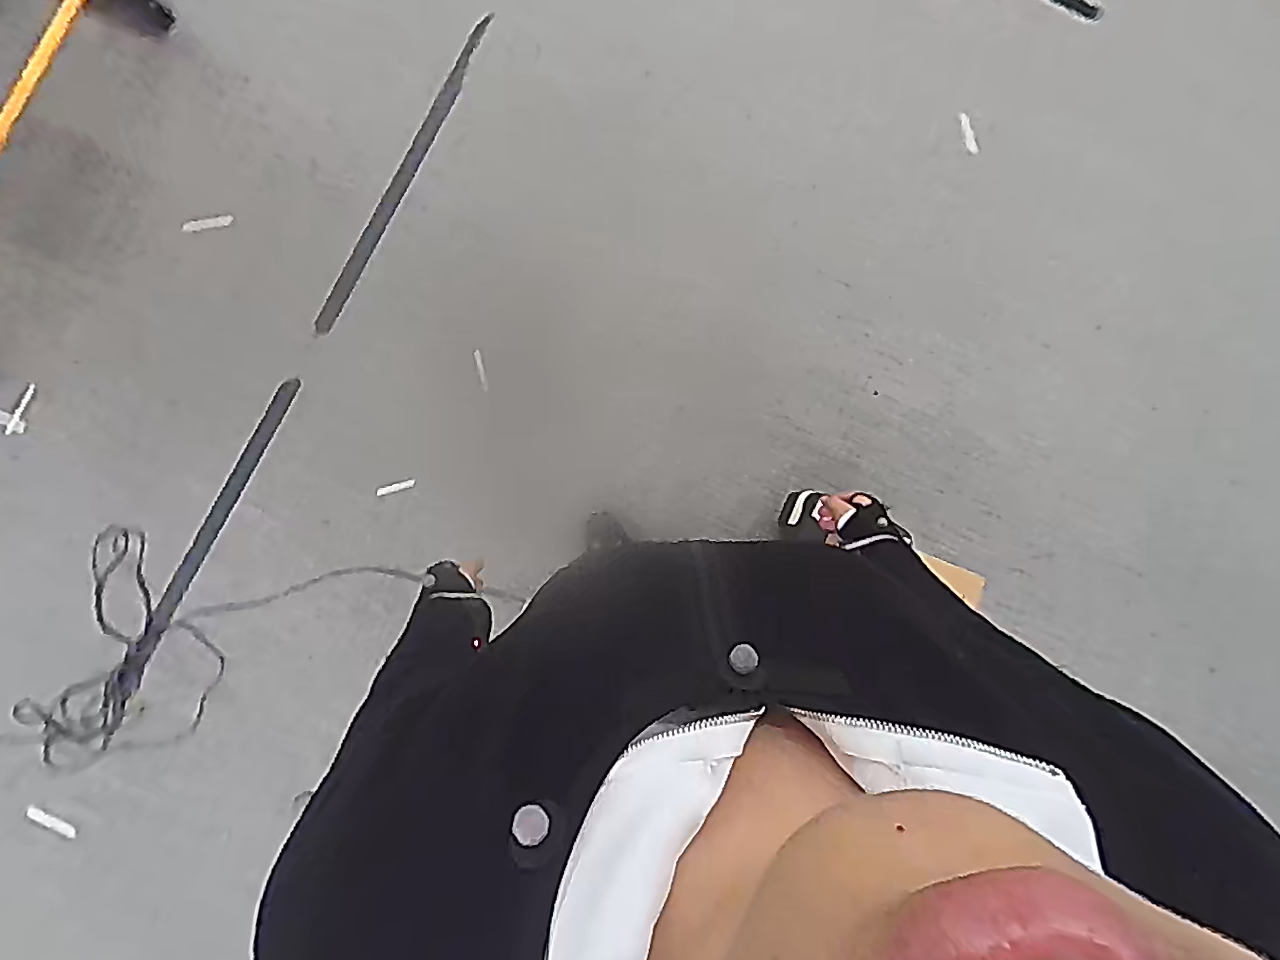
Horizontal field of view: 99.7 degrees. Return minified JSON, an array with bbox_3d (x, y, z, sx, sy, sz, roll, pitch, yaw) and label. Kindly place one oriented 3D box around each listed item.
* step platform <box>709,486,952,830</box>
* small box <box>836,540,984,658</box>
[{"bbox_3d":[0.404,0.361,1.191,0.286,0.204,0.684,24,87,-1],"label":"step platform"},{"bbox_3d":[0.525,0.225,1.074,0.179,0.176,0.168,22,87,-1],"label":"small box"}]
